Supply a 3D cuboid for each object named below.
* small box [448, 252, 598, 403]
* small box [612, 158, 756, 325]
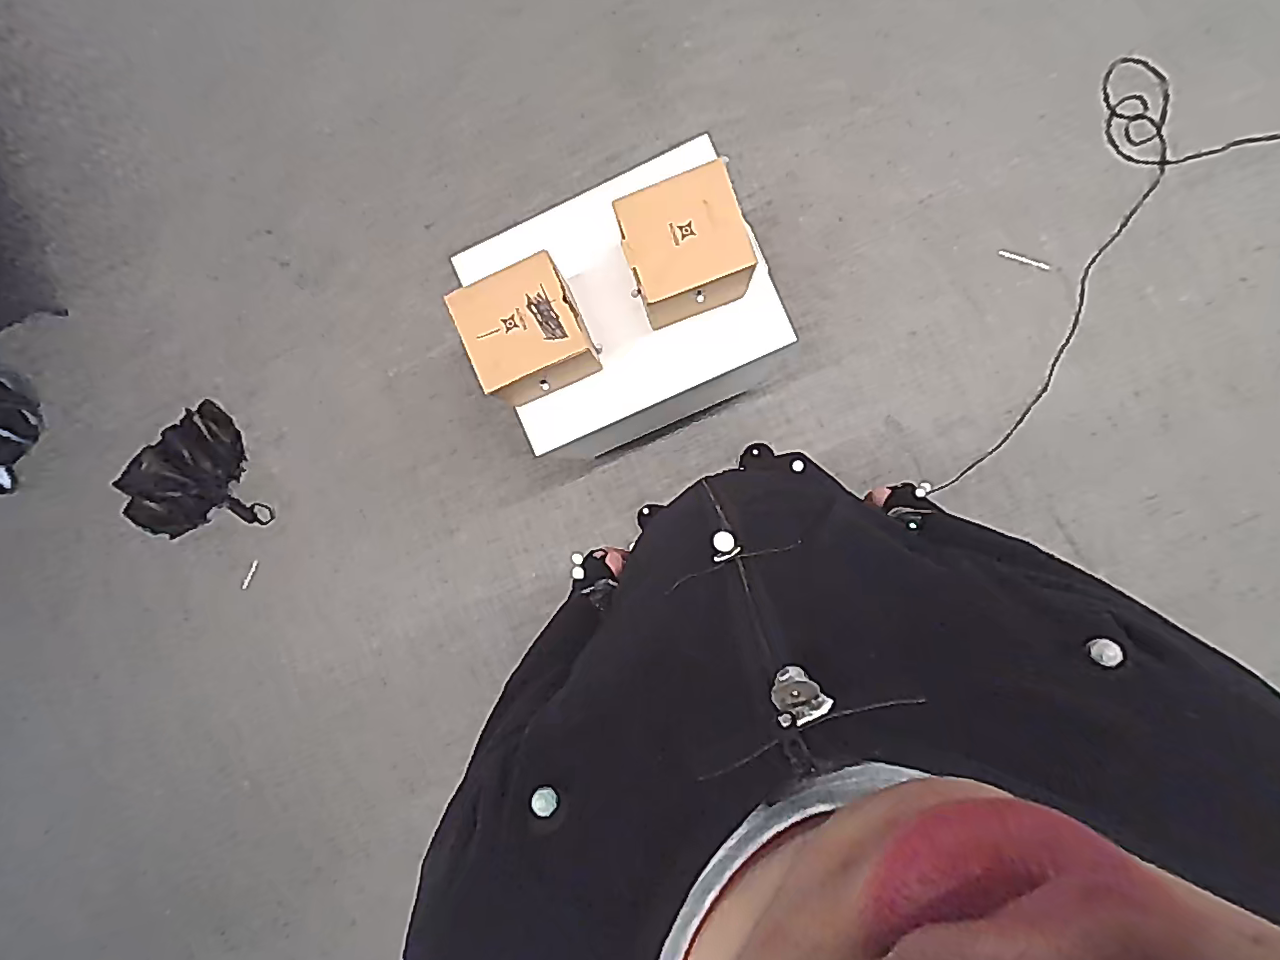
[{"bbox_3d":[-0.179,-0.241,0.897,0.179,0.176,0.168,-23,89,5],"label":"small box"},{"bbox_3d":[0.071,-0.370,0.875,0.179,0.176,0.168,-20,92,5],"label":"small box"}]
